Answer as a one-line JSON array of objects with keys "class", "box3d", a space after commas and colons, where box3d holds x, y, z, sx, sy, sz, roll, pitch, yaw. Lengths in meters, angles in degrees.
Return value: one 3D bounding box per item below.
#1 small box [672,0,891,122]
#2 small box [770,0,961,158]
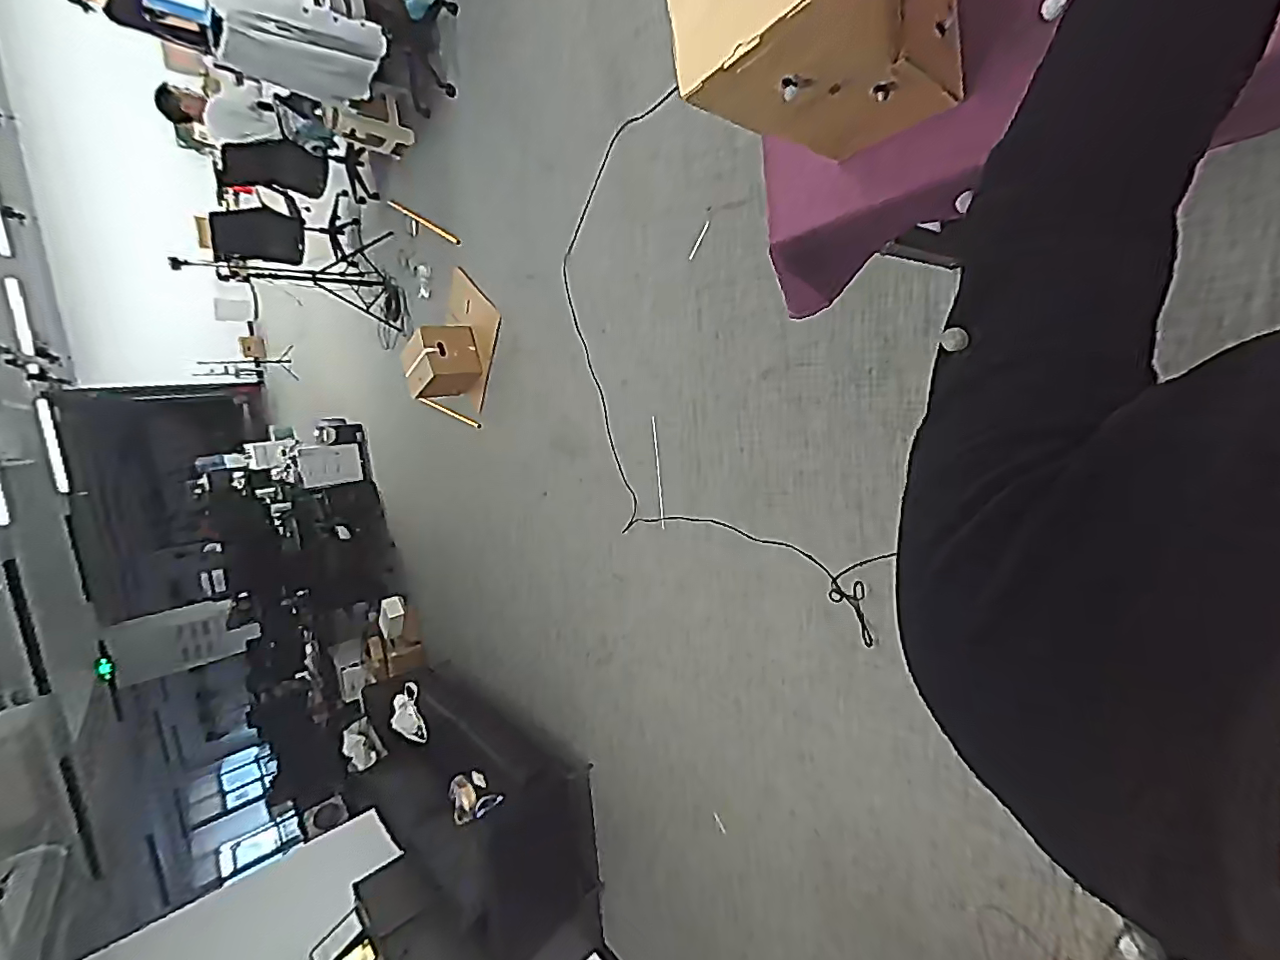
[{"class": "small box", "box3d": [0.152, -0.521, 0.583, 0.168, 0.176, 0.179, -2, 98, 49]}, {"class": "small box", "box3d": [0.279, -0.543, 0.685, 0.179, 0.176, 0.168, -1, 98, 49]}]
